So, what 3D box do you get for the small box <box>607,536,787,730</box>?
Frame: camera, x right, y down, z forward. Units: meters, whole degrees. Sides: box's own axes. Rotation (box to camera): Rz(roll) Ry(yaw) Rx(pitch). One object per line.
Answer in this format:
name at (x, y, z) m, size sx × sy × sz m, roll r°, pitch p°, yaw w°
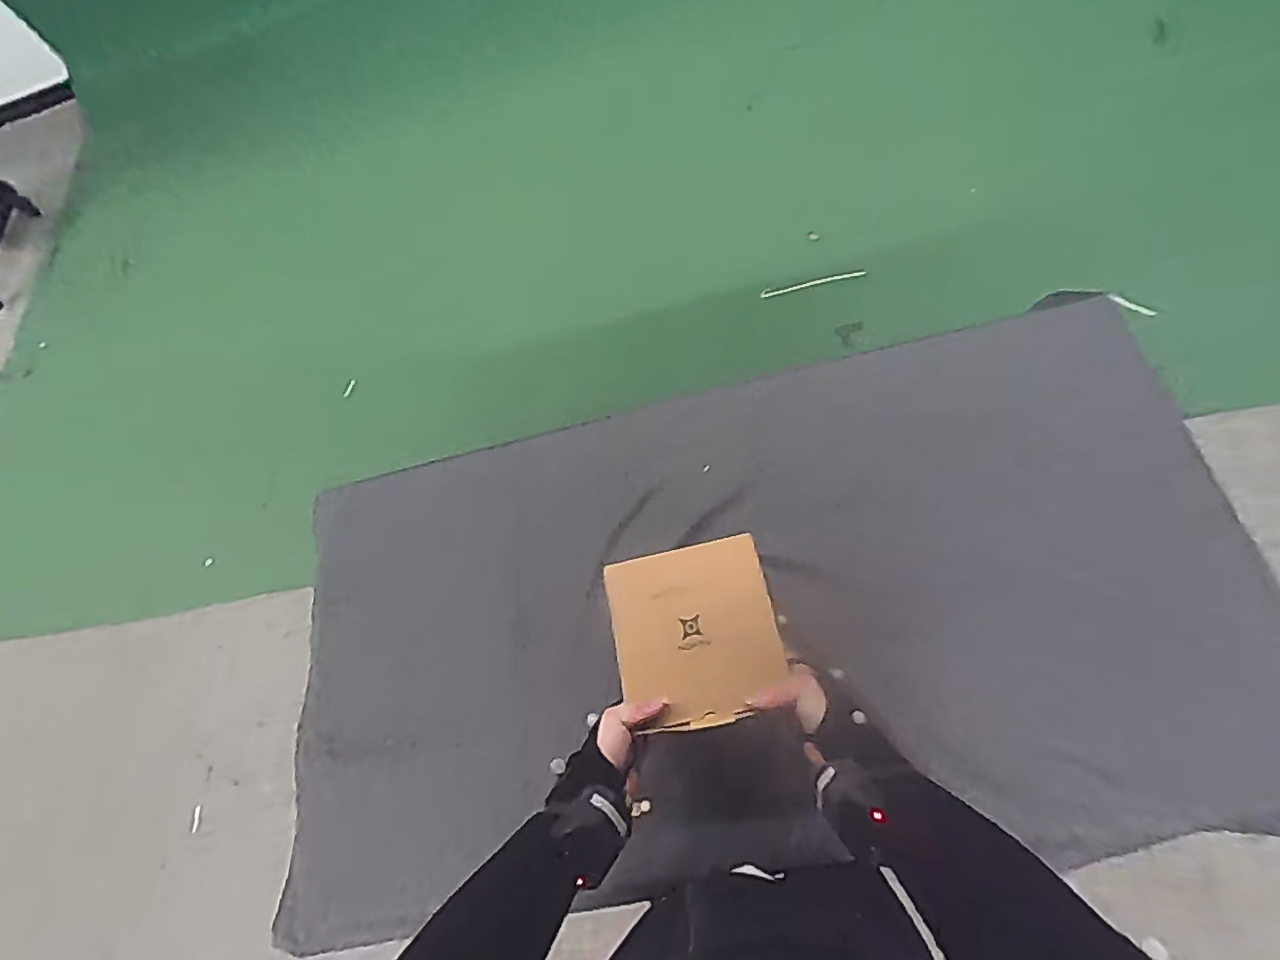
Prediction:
small box at (0.066, 0.182, 0.633) m, size 0.168 × 0.176 × 0.179 m, roll -11°, pitch 67°, yaw 5°
